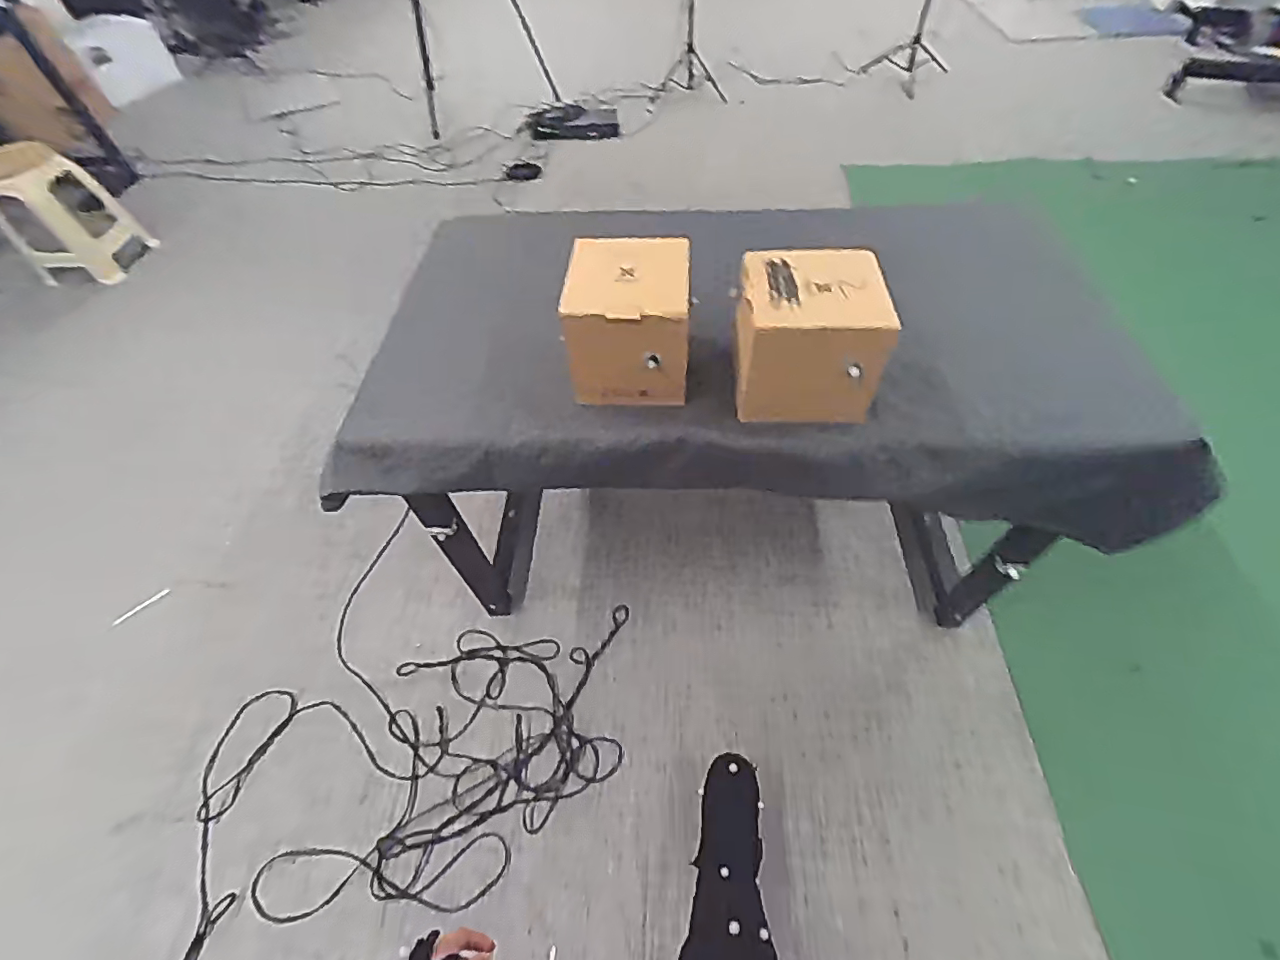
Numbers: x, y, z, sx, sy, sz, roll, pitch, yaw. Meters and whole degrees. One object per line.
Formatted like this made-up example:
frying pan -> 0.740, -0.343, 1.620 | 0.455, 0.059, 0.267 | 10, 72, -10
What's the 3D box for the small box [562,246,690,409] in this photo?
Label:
small box -> -0.011, -0.221, 0.797 | 0.168, 0.176, 0.179 | 1, 52, 3
